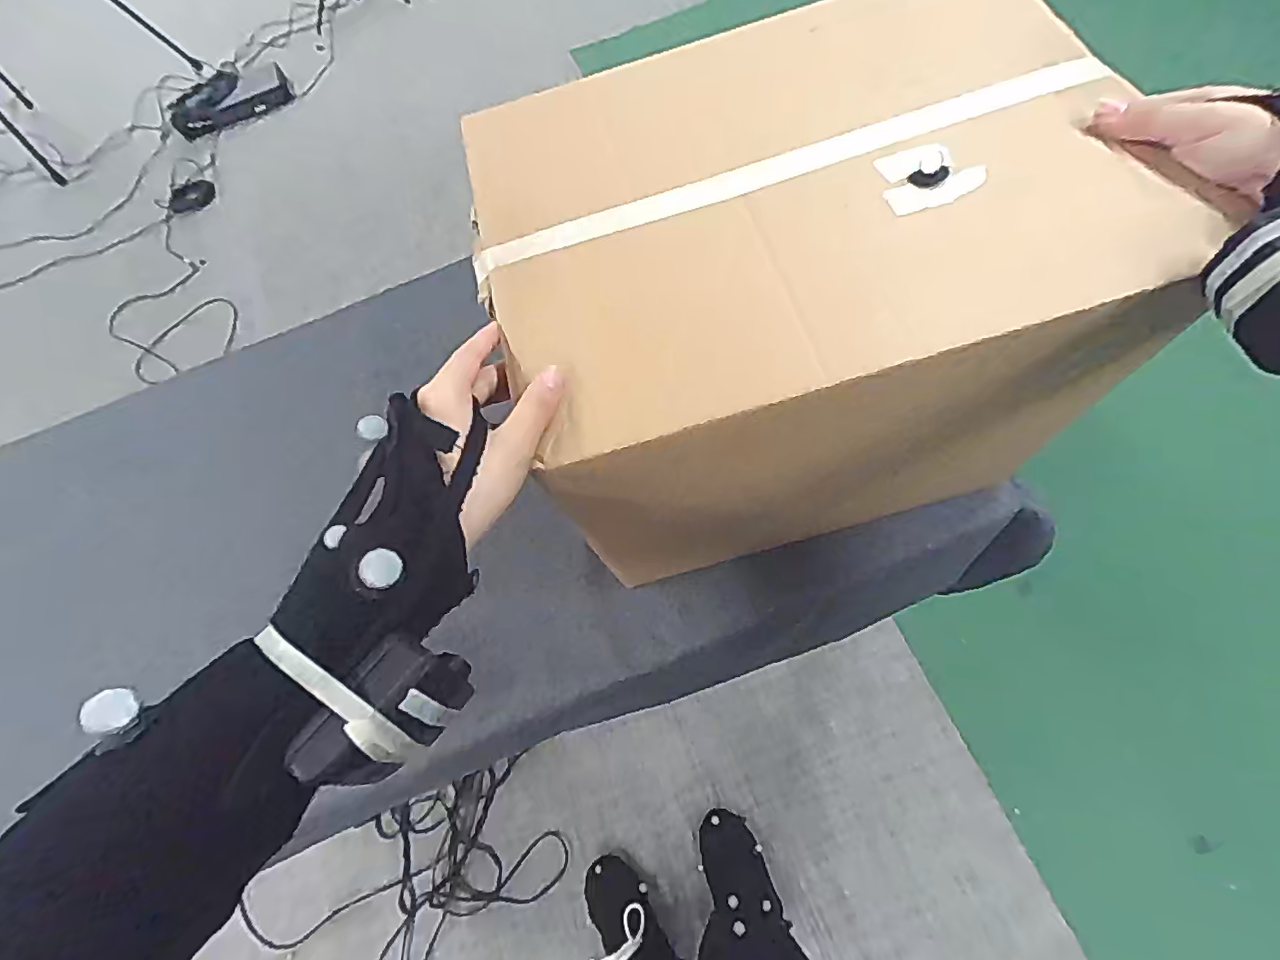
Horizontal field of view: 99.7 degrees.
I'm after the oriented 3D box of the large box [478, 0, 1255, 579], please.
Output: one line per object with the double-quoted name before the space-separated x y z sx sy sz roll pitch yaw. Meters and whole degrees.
"large box" 0.120 -0.140 0.485 0.408 0.320 0.320 -16 67 1
